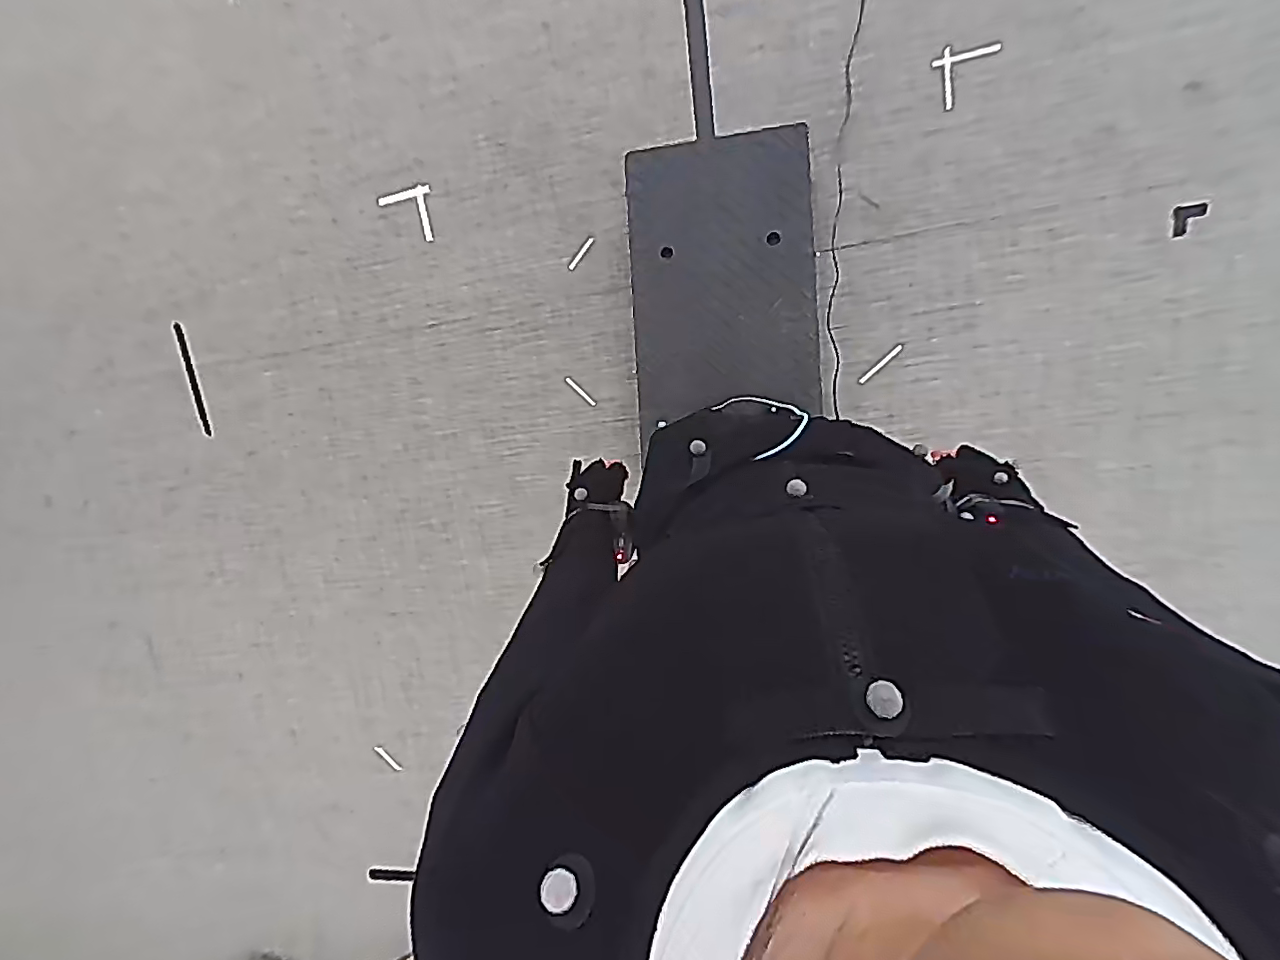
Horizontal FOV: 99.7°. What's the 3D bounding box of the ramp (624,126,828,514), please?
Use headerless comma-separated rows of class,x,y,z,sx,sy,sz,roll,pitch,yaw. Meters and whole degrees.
ramp,0.220,-0.415,1.457,0.509,0.206,0.991,-5,99,12
